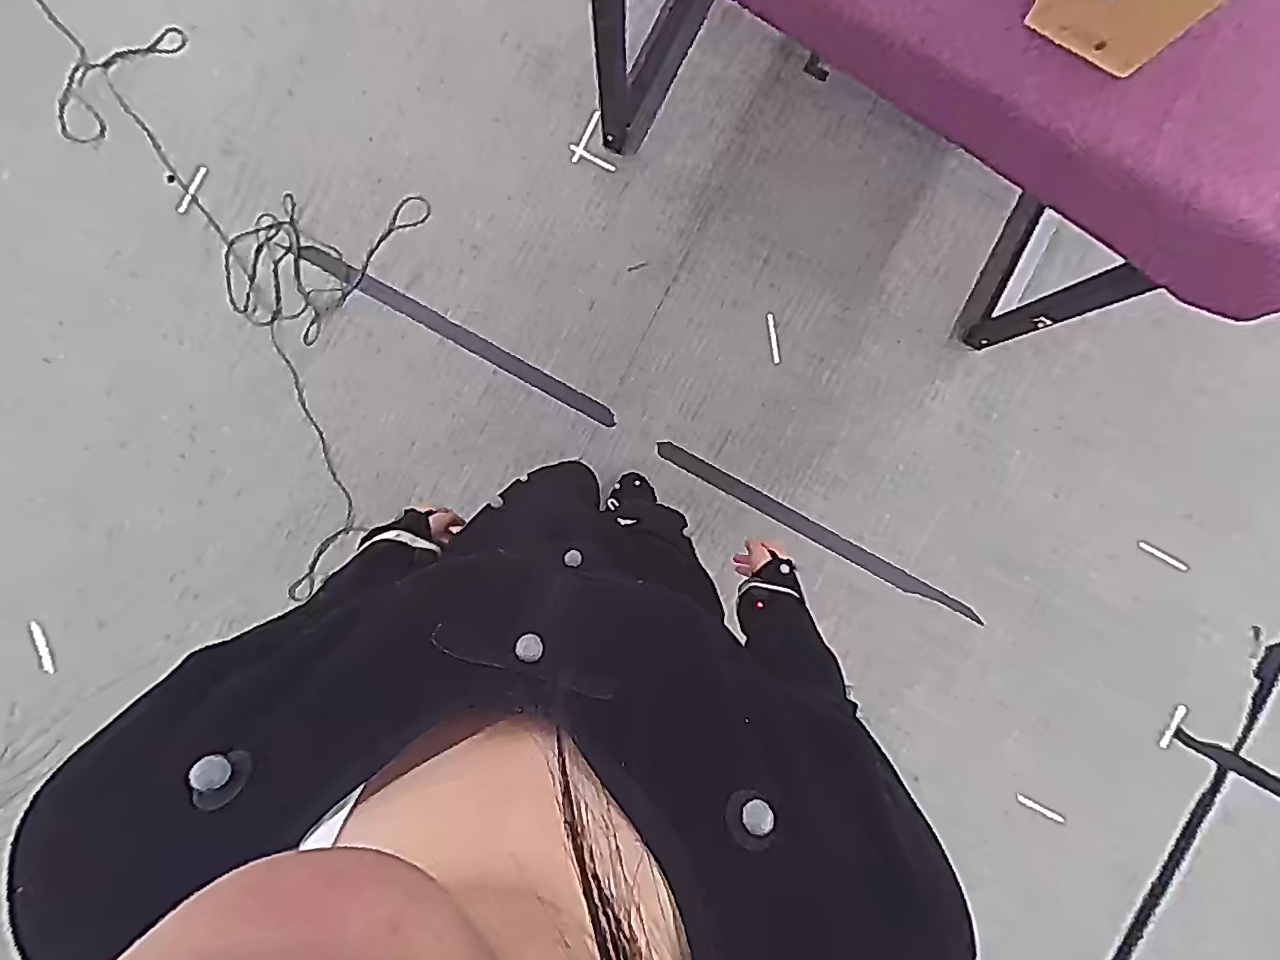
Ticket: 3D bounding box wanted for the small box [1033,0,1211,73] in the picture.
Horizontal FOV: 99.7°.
[{"bbox_3d":[0.657,-0.683,0.692,0.168,0.176,0.179,28,90,-1],"label":"small box"}]
